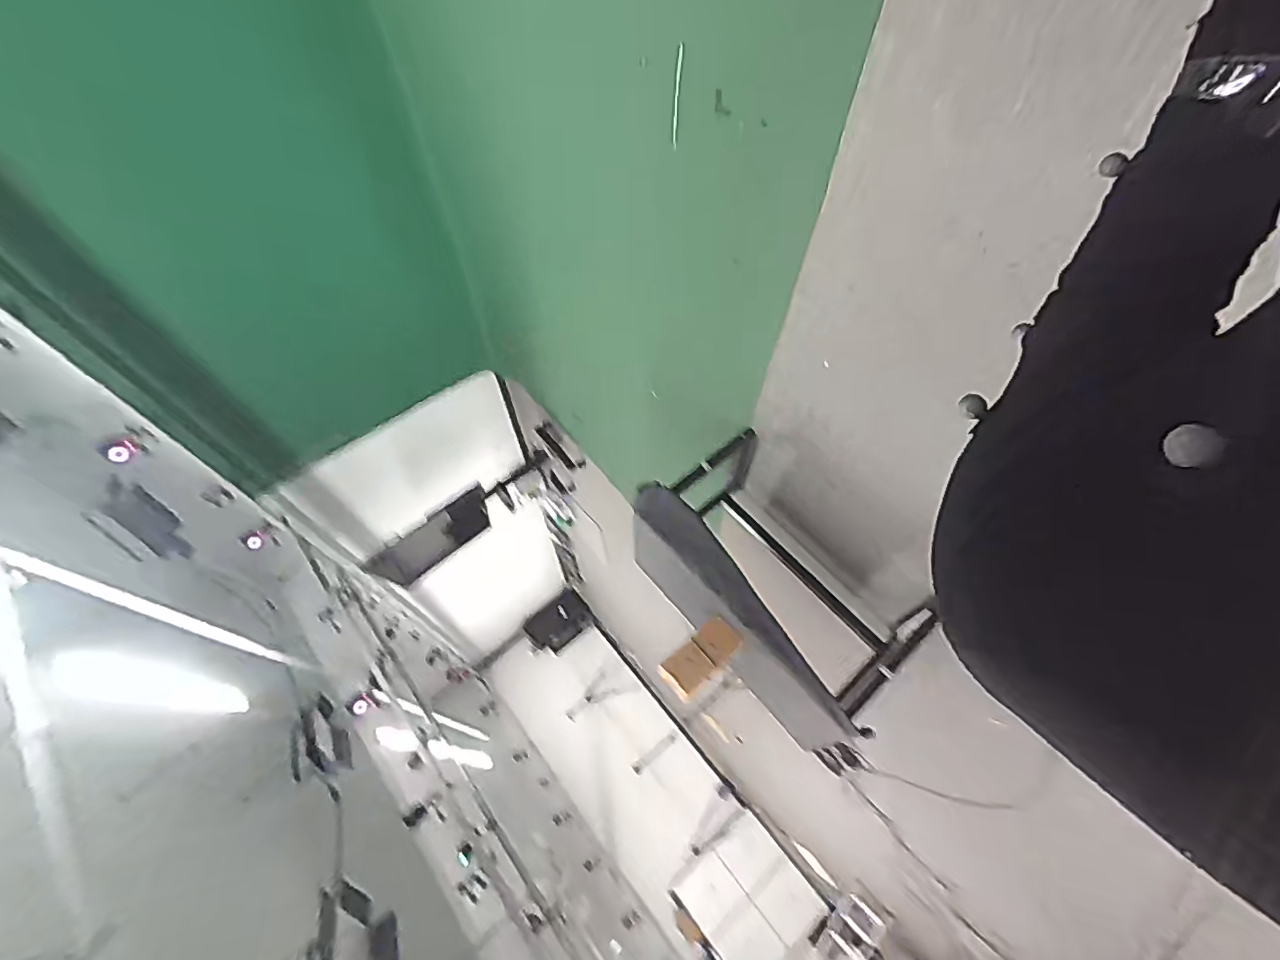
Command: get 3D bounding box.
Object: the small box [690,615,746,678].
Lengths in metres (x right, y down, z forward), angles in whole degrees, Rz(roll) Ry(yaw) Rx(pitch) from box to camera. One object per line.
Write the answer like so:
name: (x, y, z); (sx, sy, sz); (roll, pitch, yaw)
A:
small box: (0.330, 0.711, 2.310); (0.179, 0.176, 0.168); (47, 159, 24)

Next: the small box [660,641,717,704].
small box: (0.204, 0.798, 2.251); (0.168, 0.176, 0.179); (45, 158, 24)
